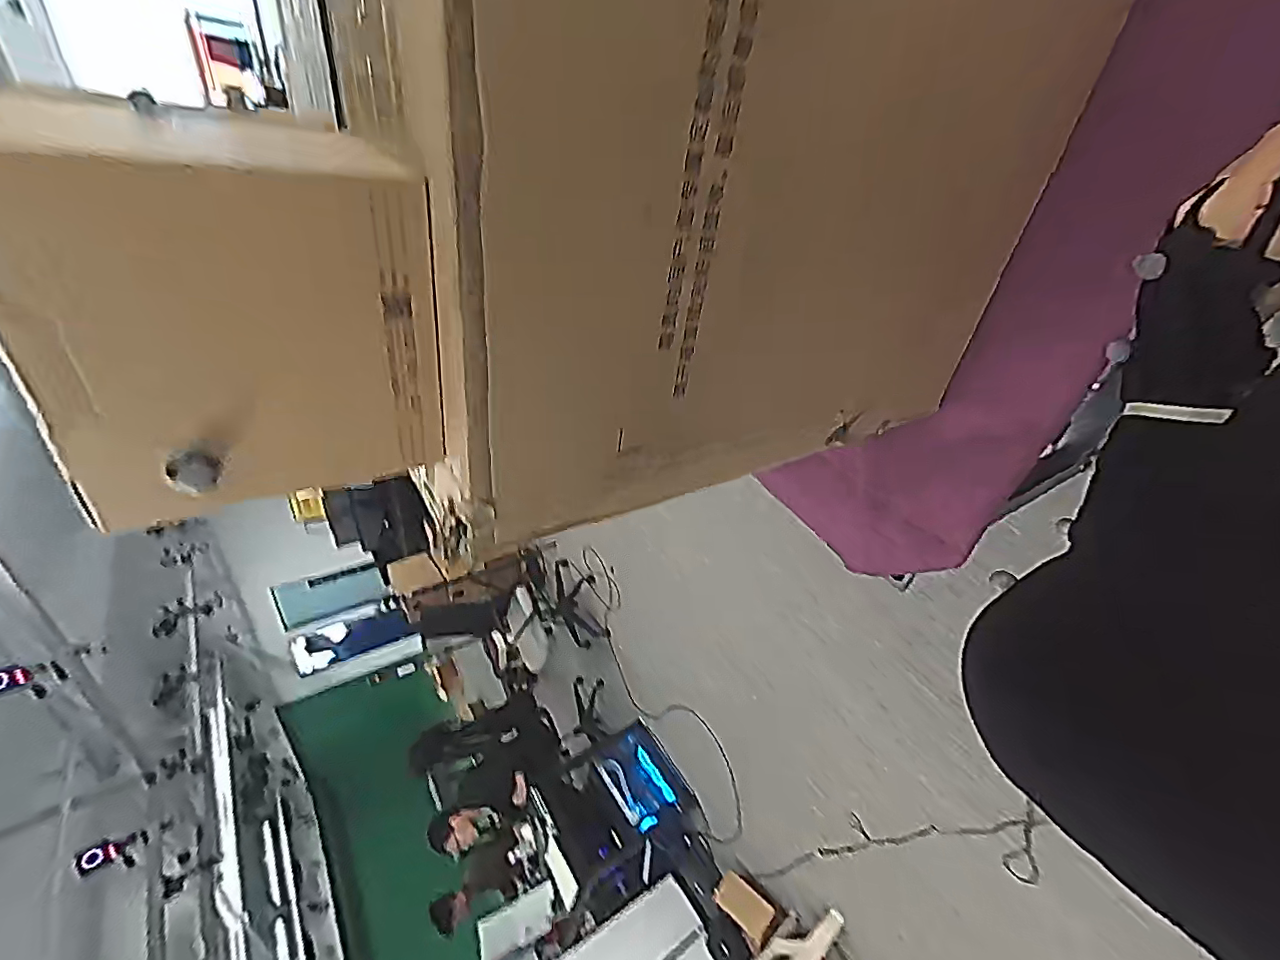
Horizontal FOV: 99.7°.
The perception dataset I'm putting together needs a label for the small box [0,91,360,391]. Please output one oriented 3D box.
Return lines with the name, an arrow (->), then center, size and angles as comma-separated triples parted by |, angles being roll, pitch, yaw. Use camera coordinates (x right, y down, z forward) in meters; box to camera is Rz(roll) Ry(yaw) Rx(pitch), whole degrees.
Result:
small box -> -0.337, -0.191, 0.431 | 0.168, 0.176, 0.179 | 40, 134, 41
